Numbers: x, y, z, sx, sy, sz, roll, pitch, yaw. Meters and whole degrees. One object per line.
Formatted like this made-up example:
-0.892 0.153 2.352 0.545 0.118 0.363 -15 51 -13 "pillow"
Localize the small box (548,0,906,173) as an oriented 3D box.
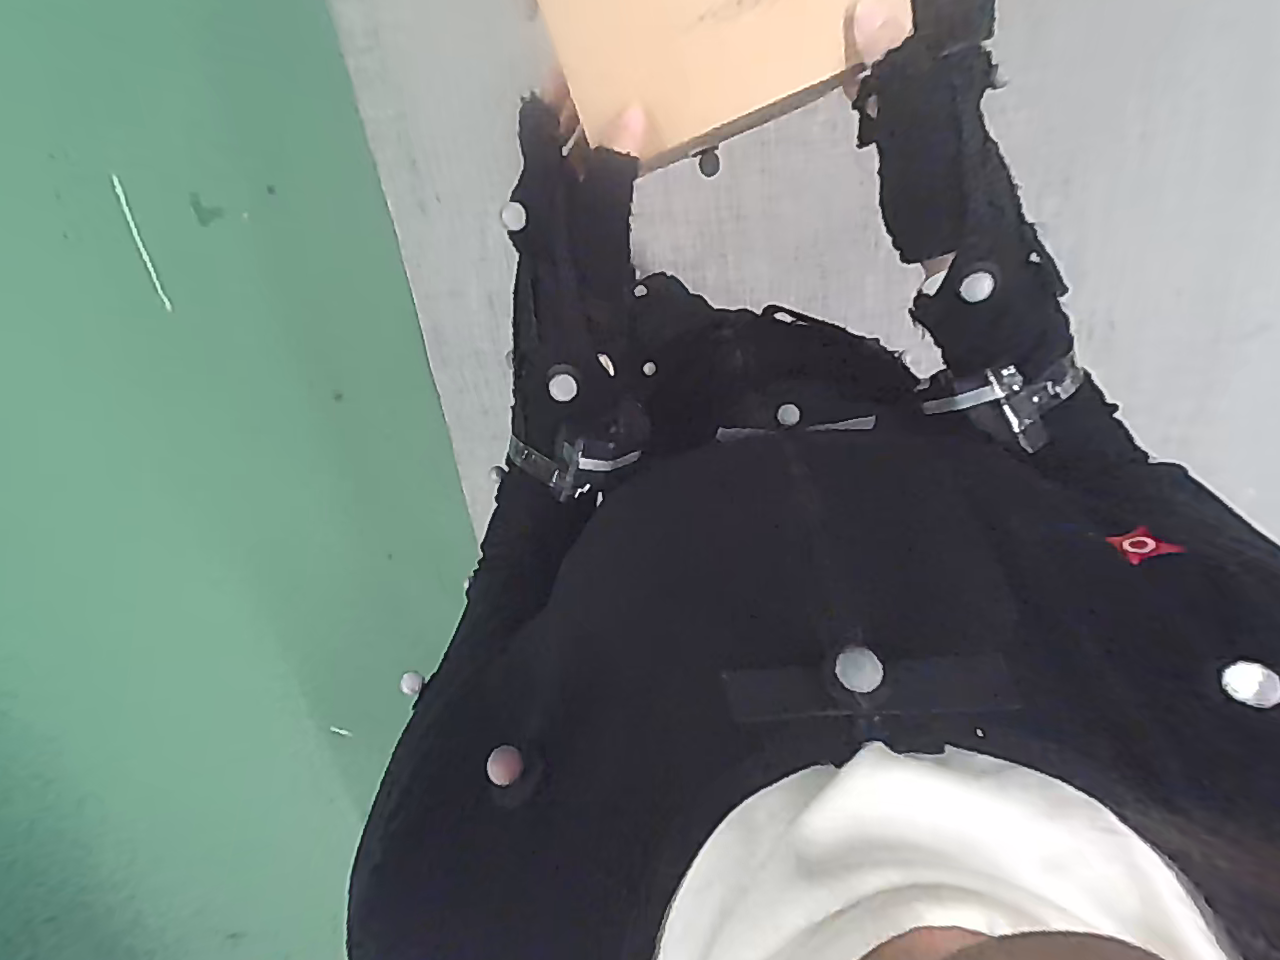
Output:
0.027 -0.304 0.314 0.168 0.176 0.179 -17 115 10 "small box"
